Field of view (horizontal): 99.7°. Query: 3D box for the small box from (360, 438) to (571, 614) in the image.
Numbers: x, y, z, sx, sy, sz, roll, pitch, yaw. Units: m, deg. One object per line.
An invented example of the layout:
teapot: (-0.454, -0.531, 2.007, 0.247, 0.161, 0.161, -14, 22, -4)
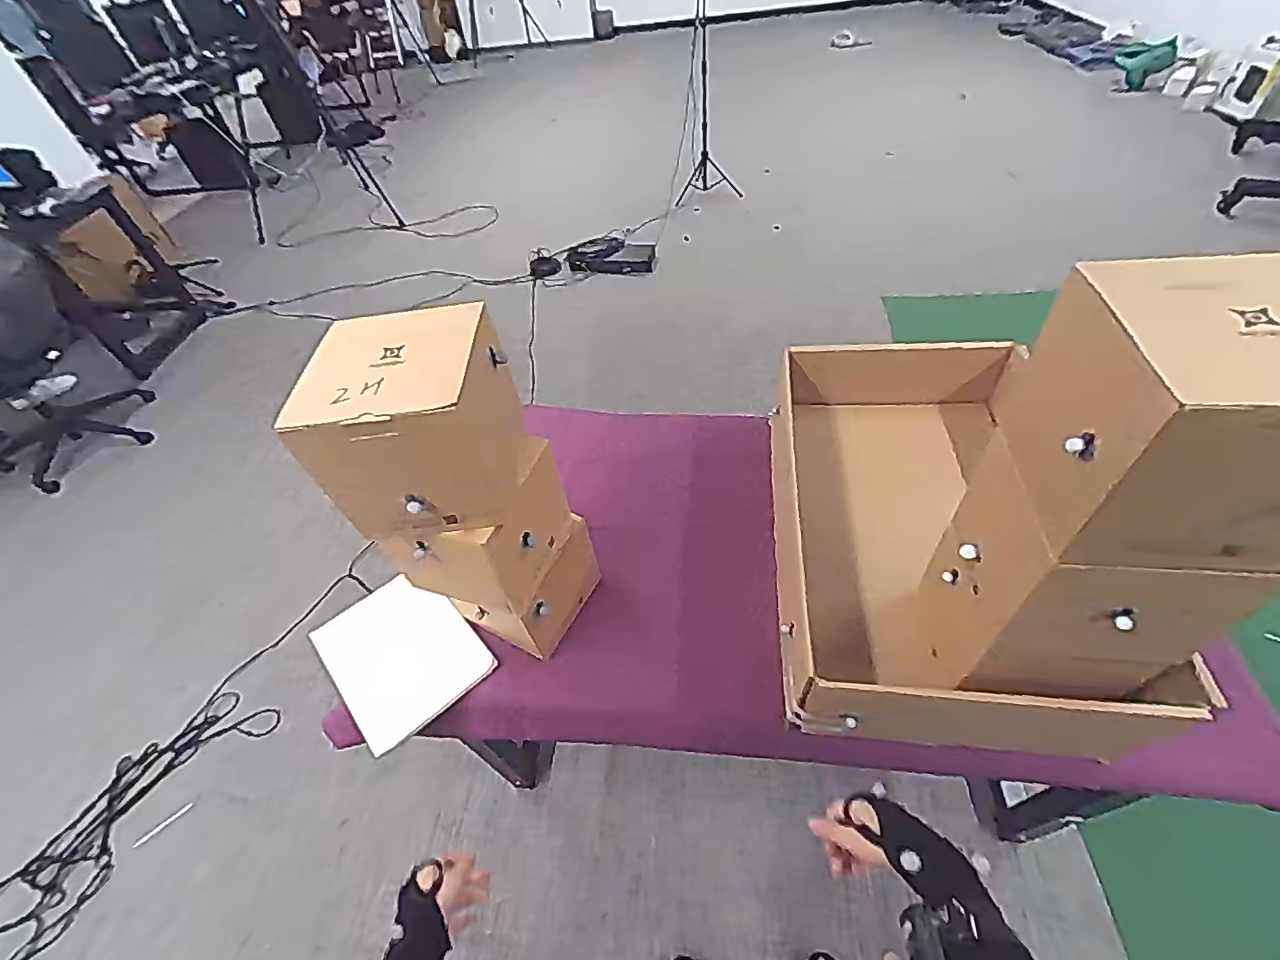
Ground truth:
small box: (-0.207, 0.052, 0.701, 0.179, 0.176, 0.168, 11, 50, 17)

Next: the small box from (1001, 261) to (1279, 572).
small box: (0.417, -0.046, 0.418, 0.168, 0.176, 0.179, 2, 48, 11)

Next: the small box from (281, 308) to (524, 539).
small box: (-0.229, -0.059, 0.582, 0.168, 0.176, 0.179, -6, 48, 3)

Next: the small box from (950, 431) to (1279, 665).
small box: (0.438, 0.068, 0.533, 0.179, 0.176, 0.168, 1, 48, 12)
